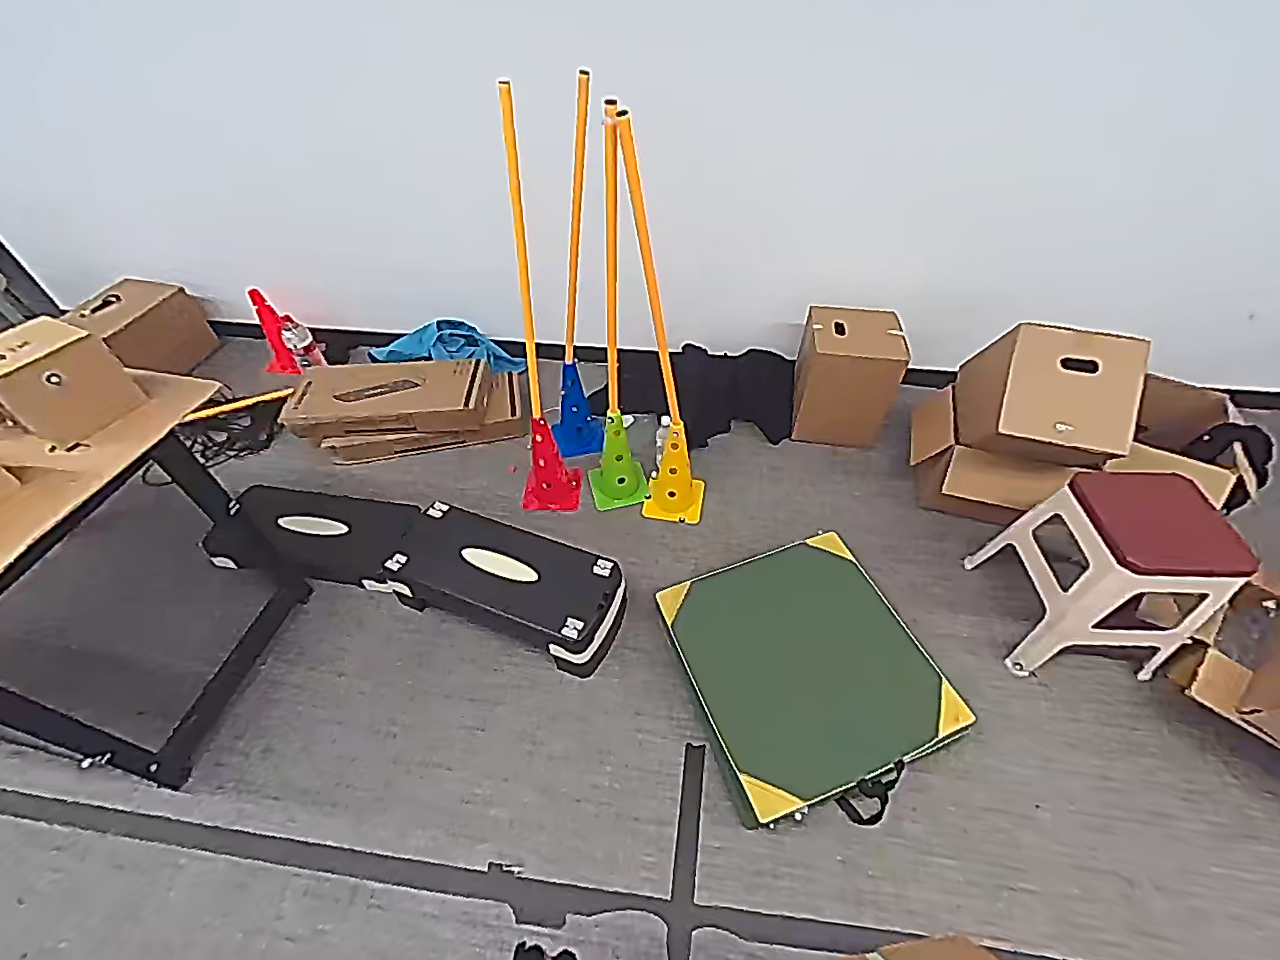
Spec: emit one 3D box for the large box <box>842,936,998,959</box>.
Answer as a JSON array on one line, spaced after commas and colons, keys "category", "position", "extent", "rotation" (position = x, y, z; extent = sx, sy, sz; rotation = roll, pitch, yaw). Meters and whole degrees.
[{"category": "large box", "position": [0.395, 0.799, 0.587], "extent": [0.320, 0.408, 0.320], "rotation": [-6, 73, -8]}]
